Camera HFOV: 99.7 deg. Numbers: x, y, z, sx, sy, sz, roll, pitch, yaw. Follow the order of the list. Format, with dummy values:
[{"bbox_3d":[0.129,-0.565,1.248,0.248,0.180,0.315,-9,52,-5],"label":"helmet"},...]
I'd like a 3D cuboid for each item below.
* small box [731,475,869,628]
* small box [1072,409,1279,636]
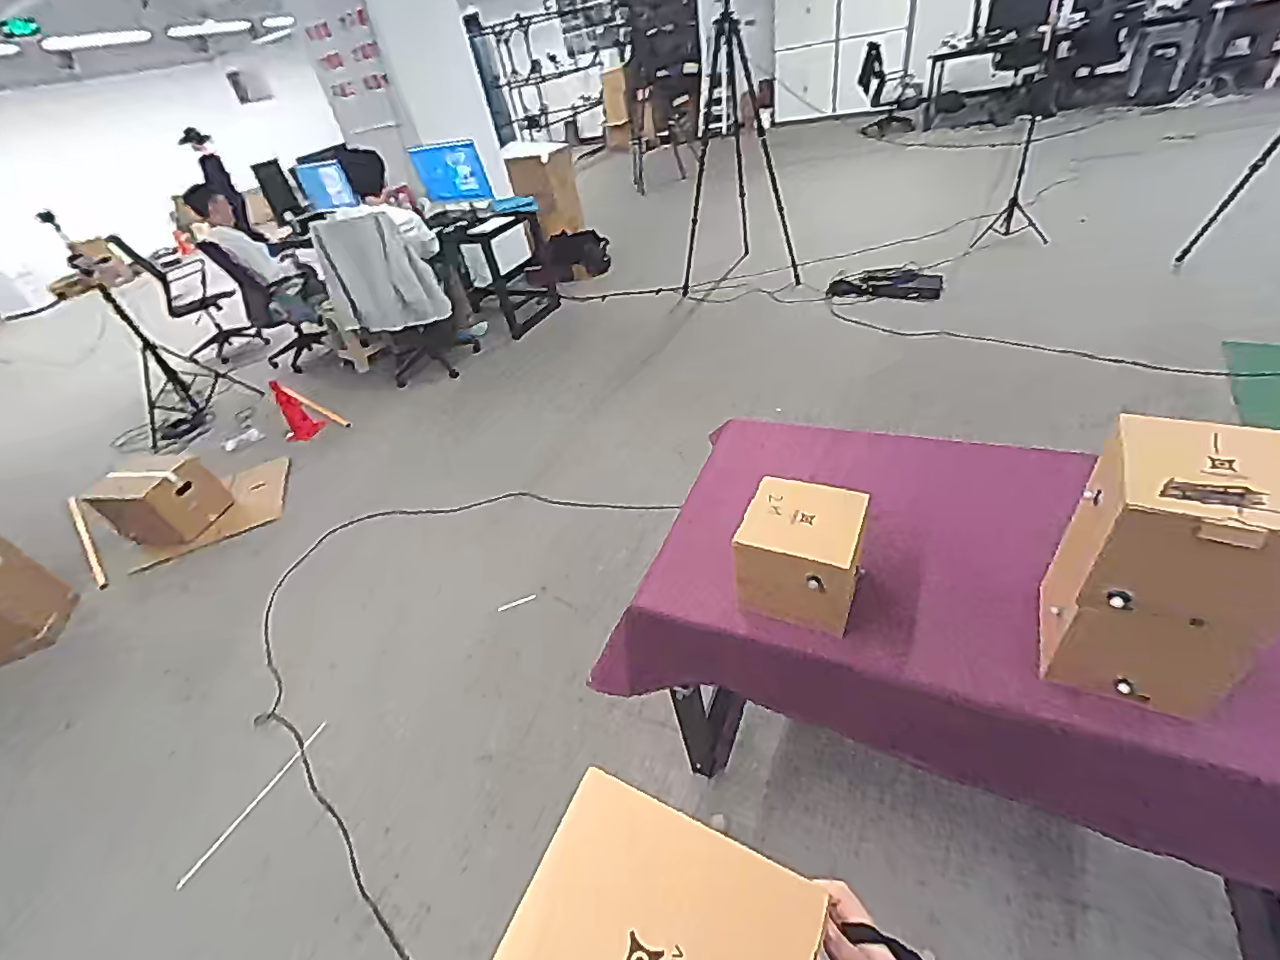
[{"bbox_3d":[0.265,0.118,0.891,0.179,0.176,0.168,10,44,28],"label":"small box"},{"bbox_3d":[0.615,0.044,0.612,0.168,0.176,0.179,13,45,30],"label":"small box"}]
